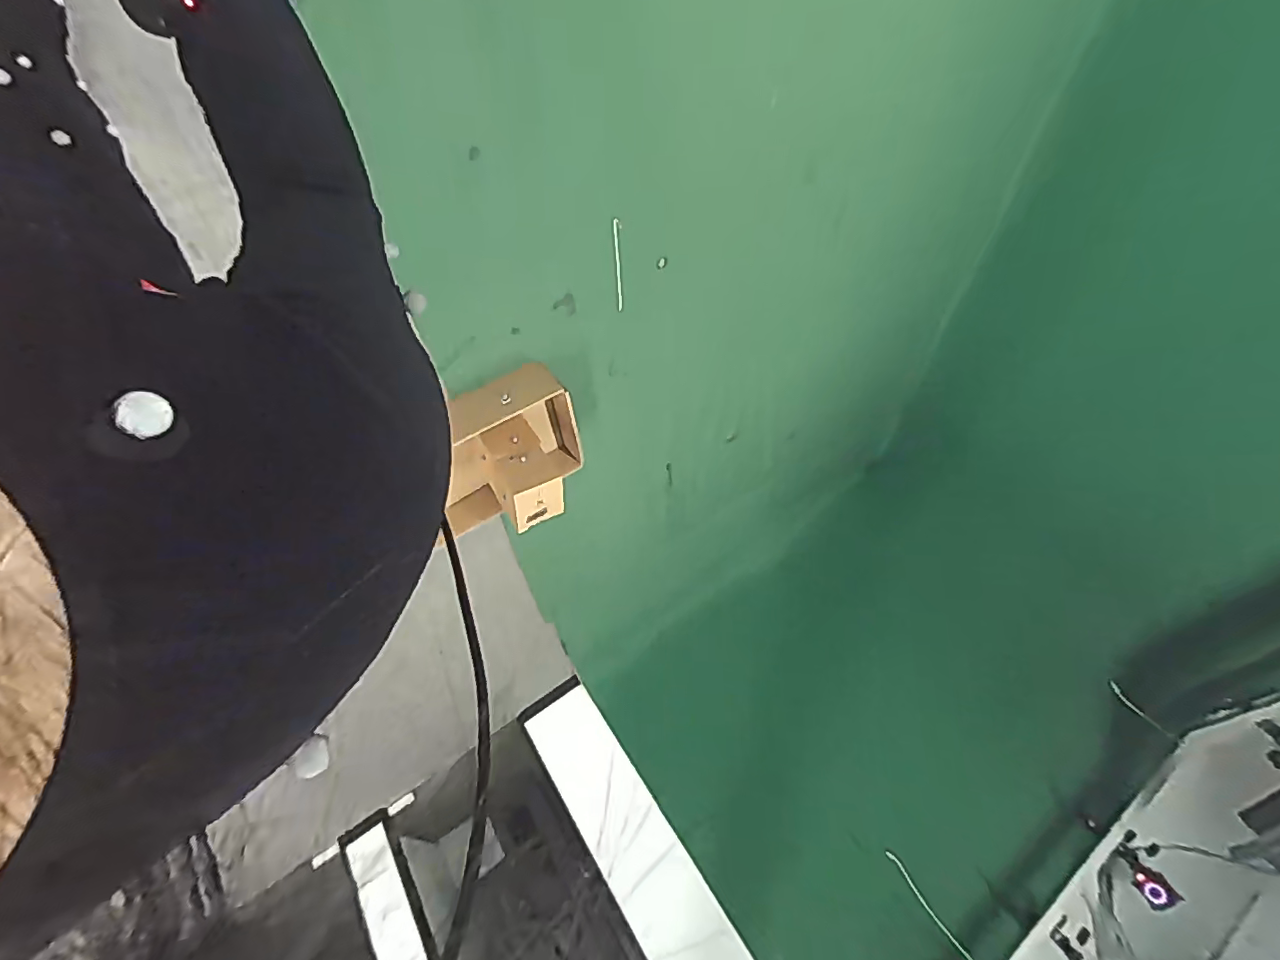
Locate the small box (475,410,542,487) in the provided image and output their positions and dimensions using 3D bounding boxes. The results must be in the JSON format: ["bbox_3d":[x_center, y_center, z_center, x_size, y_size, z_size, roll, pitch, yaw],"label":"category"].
[{"bbox_3d":[-0.444,-0.110,1.815,0.179,0.176,0.168,-21,144,-27],"label":"small box"}]

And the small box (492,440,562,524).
[{"bbox_3d":[-0.360,0.005,1.731,0.168,0.176,0.179,-24,144,-25],"label":"small box"}]
